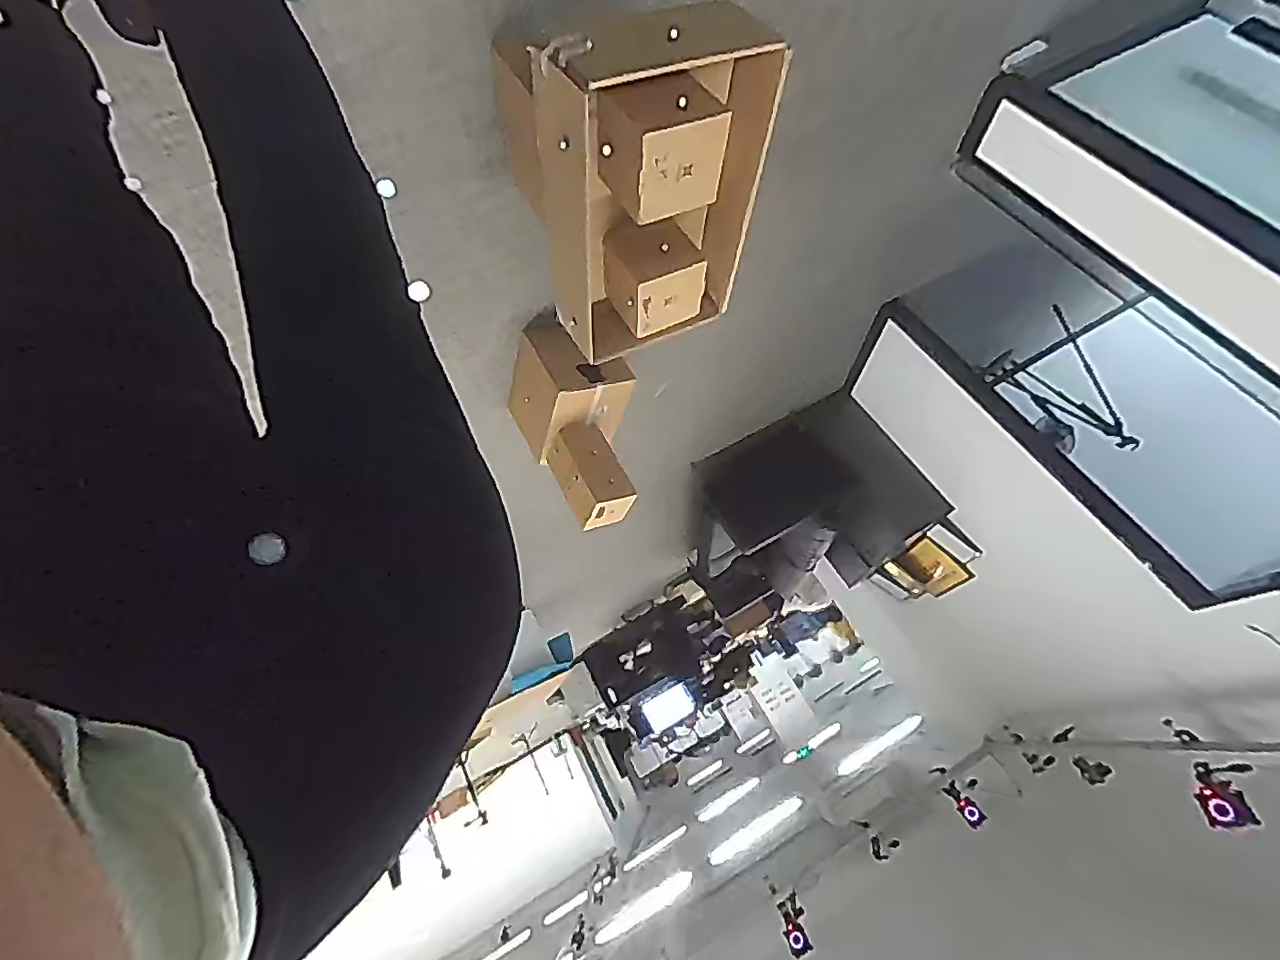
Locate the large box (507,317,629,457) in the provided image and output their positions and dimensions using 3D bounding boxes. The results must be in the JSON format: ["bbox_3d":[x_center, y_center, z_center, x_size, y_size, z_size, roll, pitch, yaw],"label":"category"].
[{"bbox_3d":[-0.289,-0.349,2.043,0.320,0.320,0.408,-18,152,-32],"label":"large box"}]

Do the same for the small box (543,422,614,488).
[{"bbox_3d":[-0.231,-0.098,1.993,0.179,0.176,0.168,-11,149,-36],"label":"small box"}]

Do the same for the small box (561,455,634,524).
[{"bbox_3d":[-0.157,0.030,1.922,0.179,0.176,0.168,-13,150,-37],"label":"small box"}]
